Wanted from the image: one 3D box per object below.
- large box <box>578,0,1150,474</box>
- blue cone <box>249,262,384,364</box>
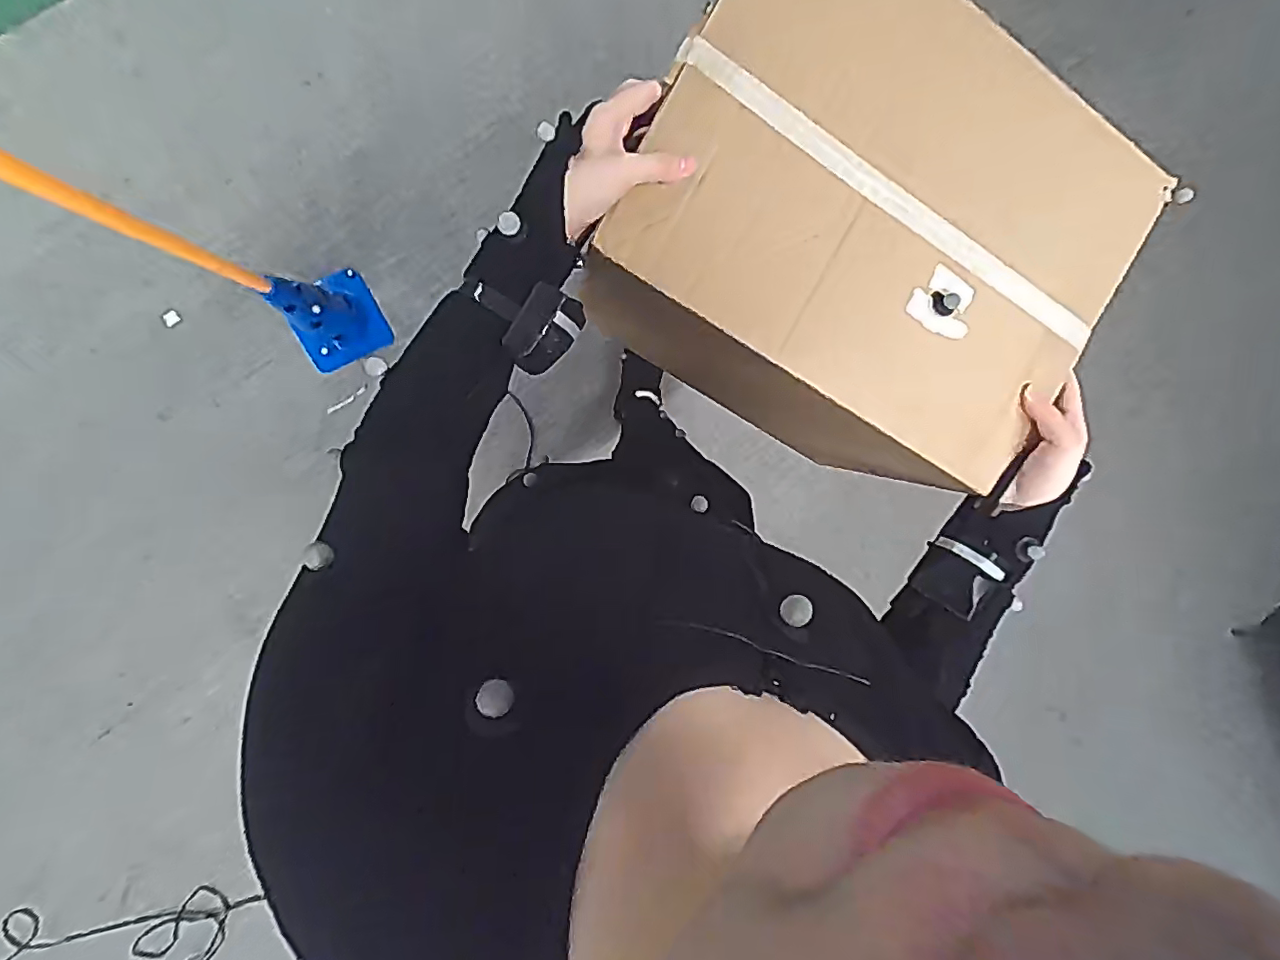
[{"bbox_3d":[0.183,-0.243,0.585,0.408,0.320,0.320,28,92,-12],"label":"large box"},{"bbox_3d":[-0.710,-0.379,1.149,0.193,0.380,0.192,-26,99,-7],"label":"blue cone"}]
